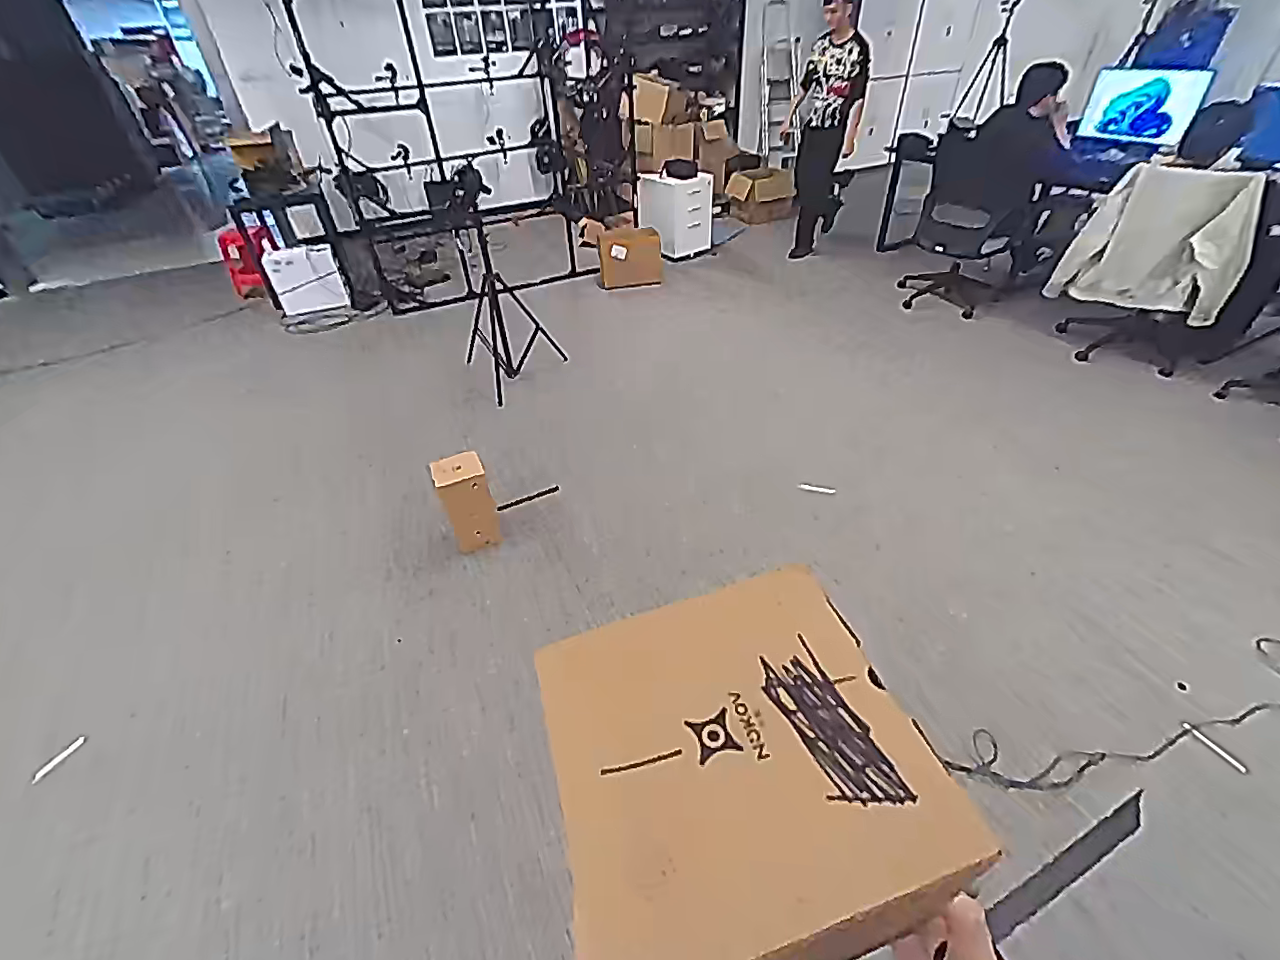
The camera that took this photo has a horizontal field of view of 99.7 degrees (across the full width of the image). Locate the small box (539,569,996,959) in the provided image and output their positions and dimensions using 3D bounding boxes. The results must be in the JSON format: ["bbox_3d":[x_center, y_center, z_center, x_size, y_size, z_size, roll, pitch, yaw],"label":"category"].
[{"bbox_3d":[0.053,0.187,0.322,0.179,0.176,0.168,-16,42,-8],"label":"small box"}]

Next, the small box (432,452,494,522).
[{"bbox_3d":[-0.651,0.026,2.006,0.179,0.176,0.168,-19,40,-18],"label":"small box"}]

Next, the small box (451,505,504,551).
[{"bbox_3d":[-0.642,0.156,2.109,0.168,0.176,0.179,-19,42,-17],"label":"small box"}]
